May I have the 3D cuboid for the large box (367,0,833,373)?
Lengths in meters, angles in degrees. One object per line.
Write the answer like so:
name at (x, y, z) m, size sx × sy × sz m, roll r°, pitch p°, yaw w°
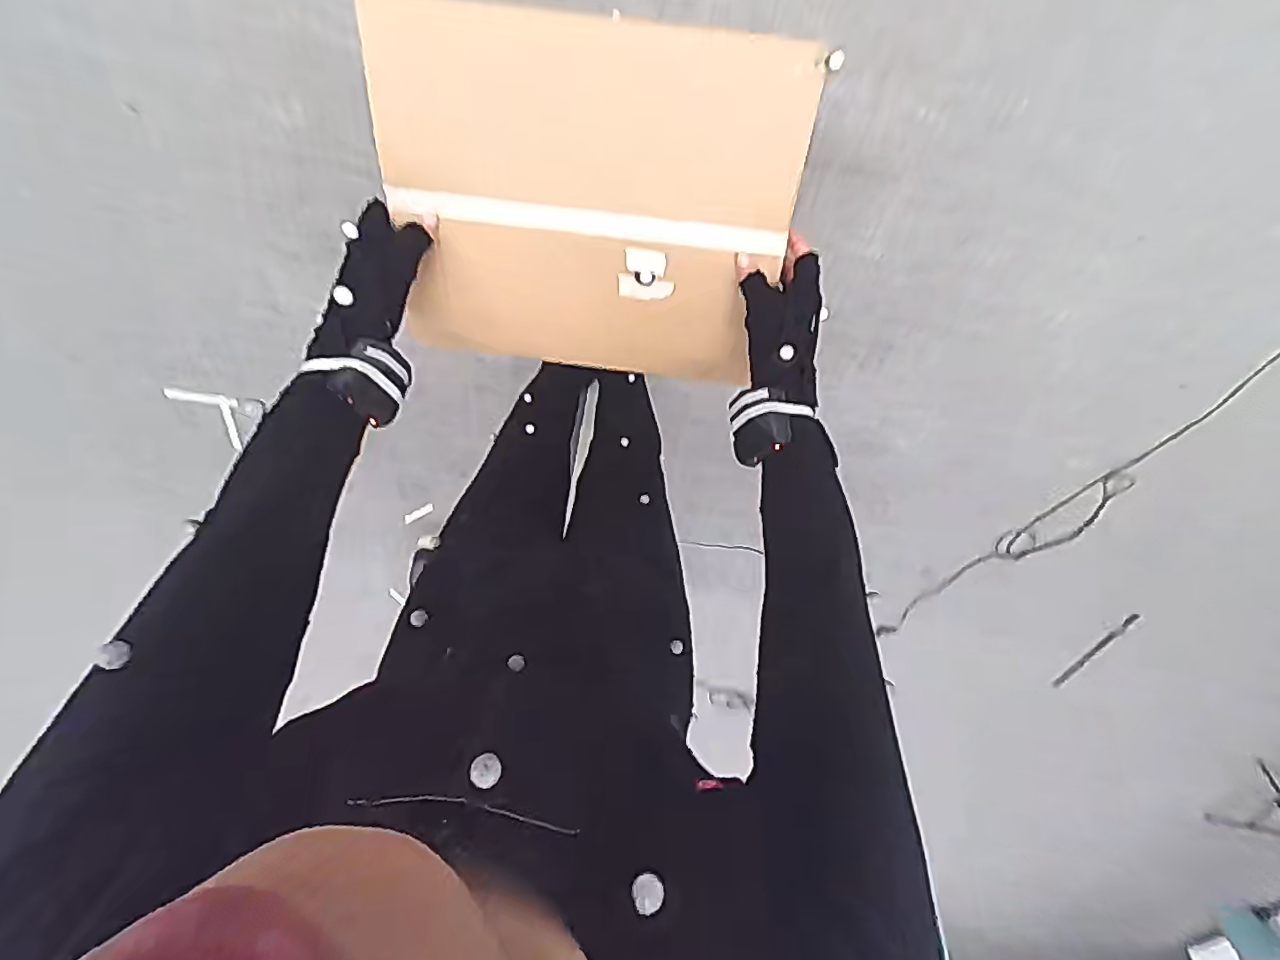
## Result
large box at (-0.038, -0.351, 0.659) m, size 0.408 × 0.320 × 0.320 m, roll 7°, pitch 126°, yaw 1°
